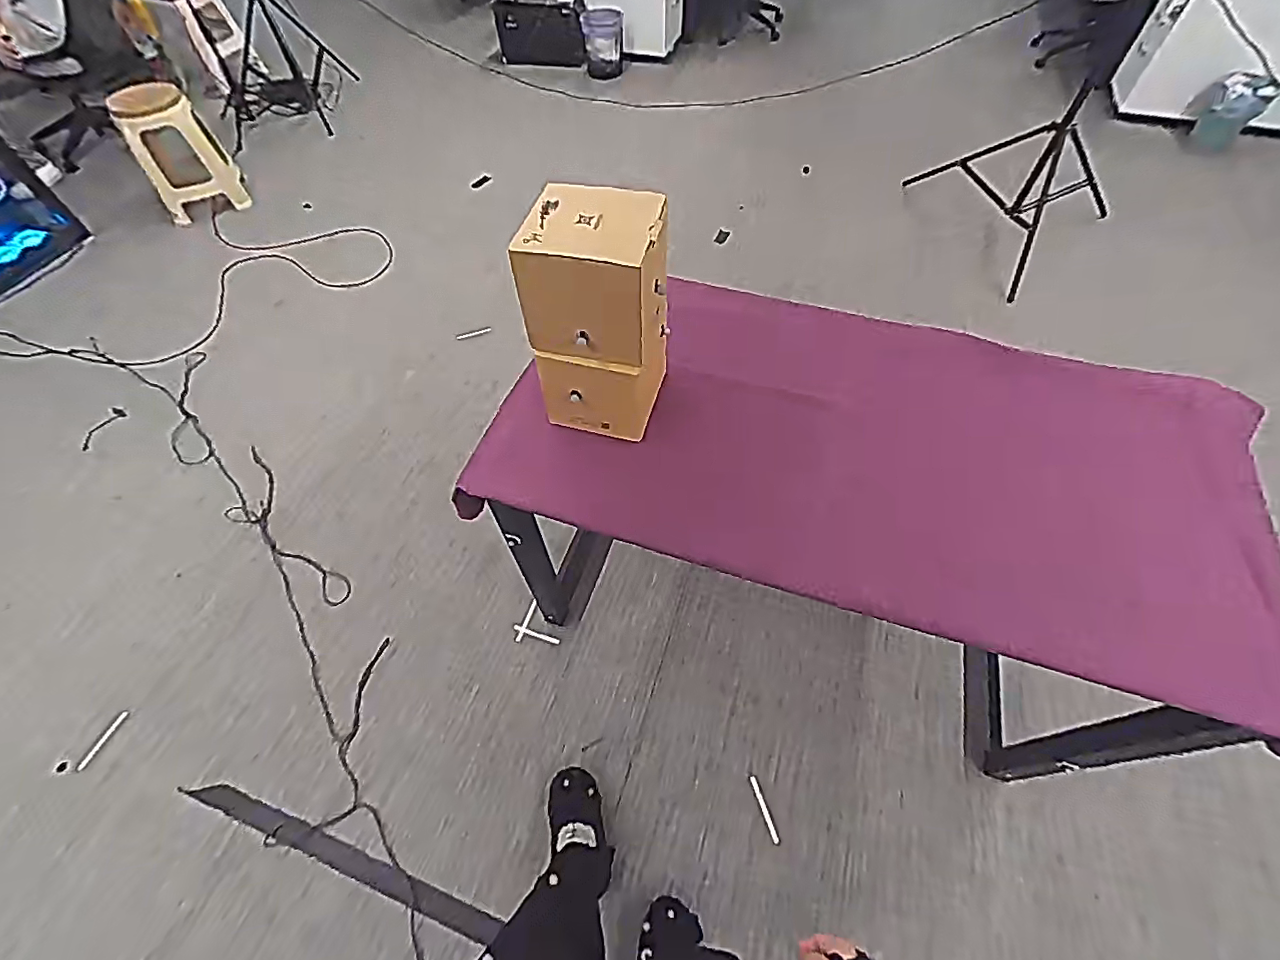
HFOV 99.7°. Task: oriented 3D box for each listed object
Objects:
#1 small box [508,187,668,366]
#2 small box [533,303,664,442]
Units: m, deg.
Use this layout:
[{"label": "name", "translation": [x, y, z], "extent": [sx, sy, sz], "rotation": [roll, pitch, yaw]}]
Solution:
[{"label": "small box", "translation": [-0.064, -0.285, 0.775], "extent": [0.179, 0.176, 0.168], "rotation": [11, 57, 8]}, {"label": "small box", "translation": [-0.058, -0.187, 0.907], "extent": [0.168, 0.176, 0.179], "rotation": [12, 57, 9]}]
